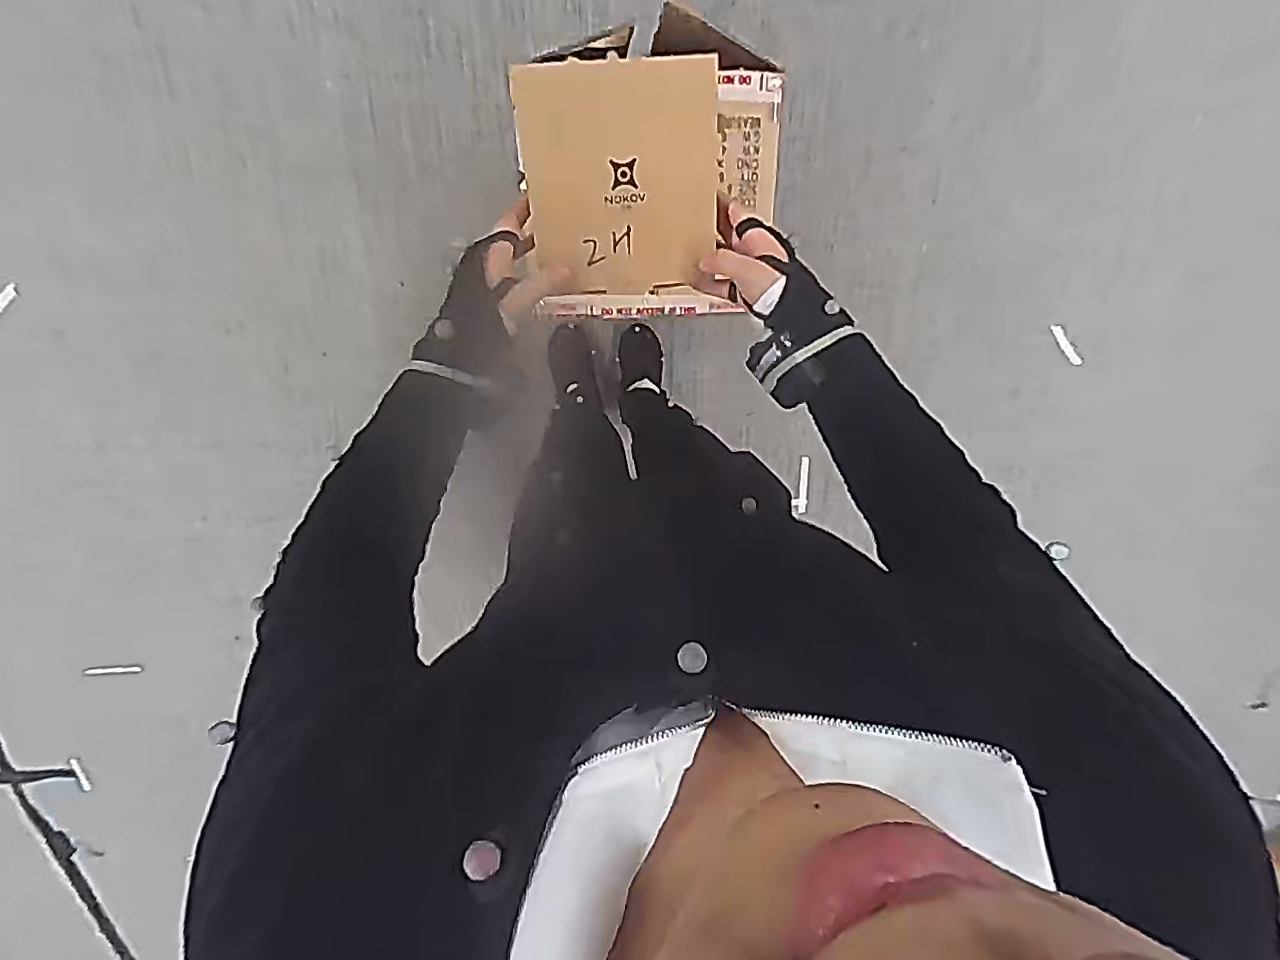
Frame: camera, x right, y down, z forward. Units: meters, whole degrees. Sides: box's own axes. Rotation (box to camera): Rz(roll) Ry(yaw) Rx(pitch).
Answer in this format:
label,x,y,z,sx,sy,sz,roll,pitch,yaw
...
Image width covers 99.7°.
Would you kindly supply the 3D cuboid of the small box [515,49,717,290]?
label,x,y,z,sx,sy,sz,roll,pitch,yaw
small box,-0.025,-0.300,0.535,0.168,0.176,0.179,-6,122,-4
